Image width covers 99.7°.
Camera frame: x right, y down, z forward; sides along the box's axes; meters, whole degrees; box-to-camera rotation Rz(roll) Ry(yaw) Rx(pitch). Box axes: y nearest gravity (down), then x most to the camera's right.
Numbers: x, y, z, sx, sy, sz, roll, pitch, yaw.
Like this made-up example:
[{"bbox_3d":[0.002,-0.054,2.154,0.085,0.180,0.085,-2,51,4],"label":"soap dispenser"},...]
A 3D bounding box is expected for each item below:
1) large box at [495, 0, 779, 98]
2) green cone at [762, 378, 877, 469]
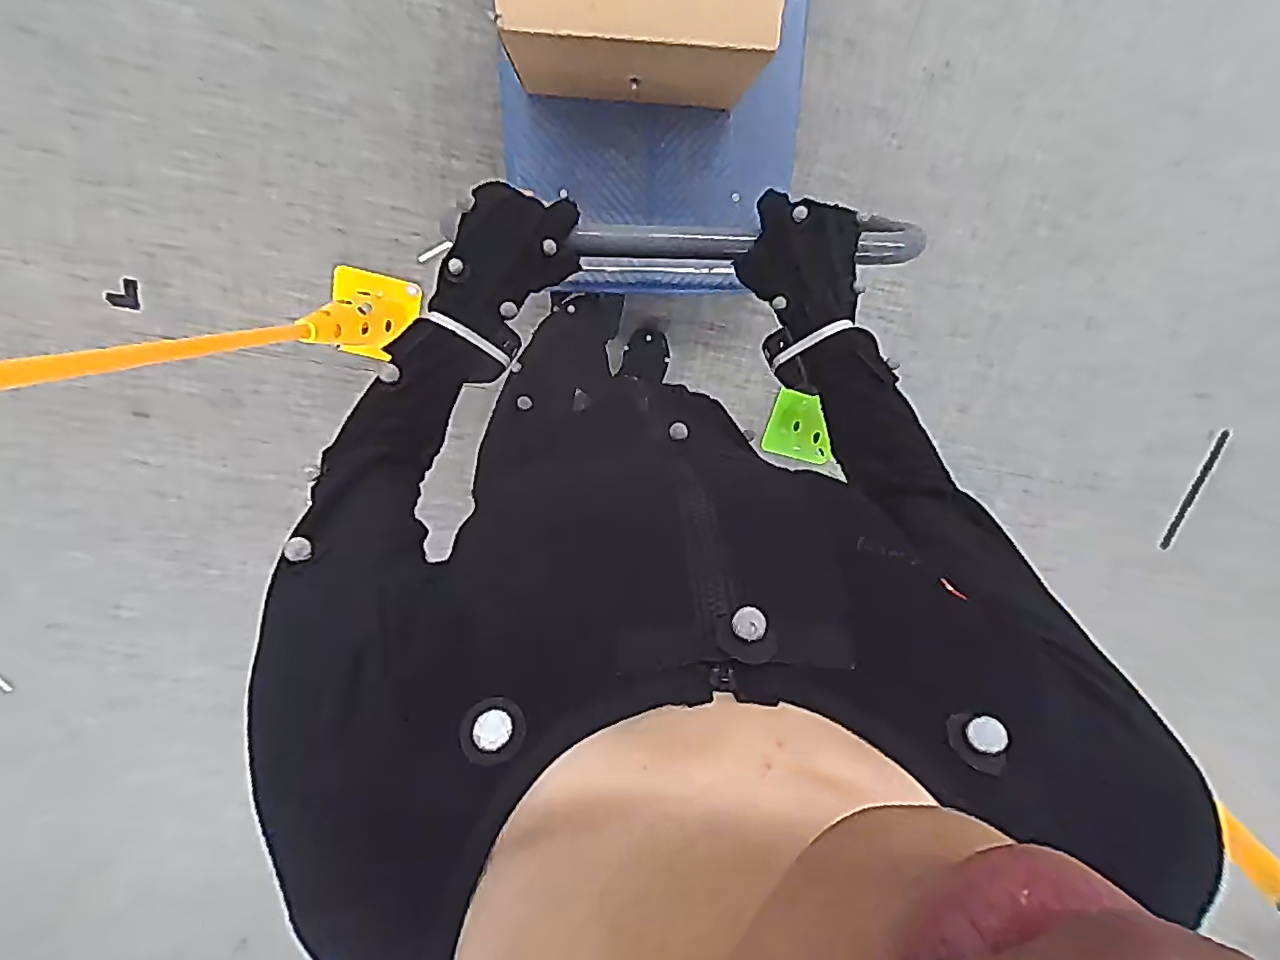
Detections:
[{"bbox_3d":[-0.002,-0.827,0.851,0.408,0.320,0.320,2,112,-3],"label":"large box"},{"bbox_3d":[0.466,-0.102,1.319,0.202,0.368,0.200,12,109,-10],"label":"green cone"}]
